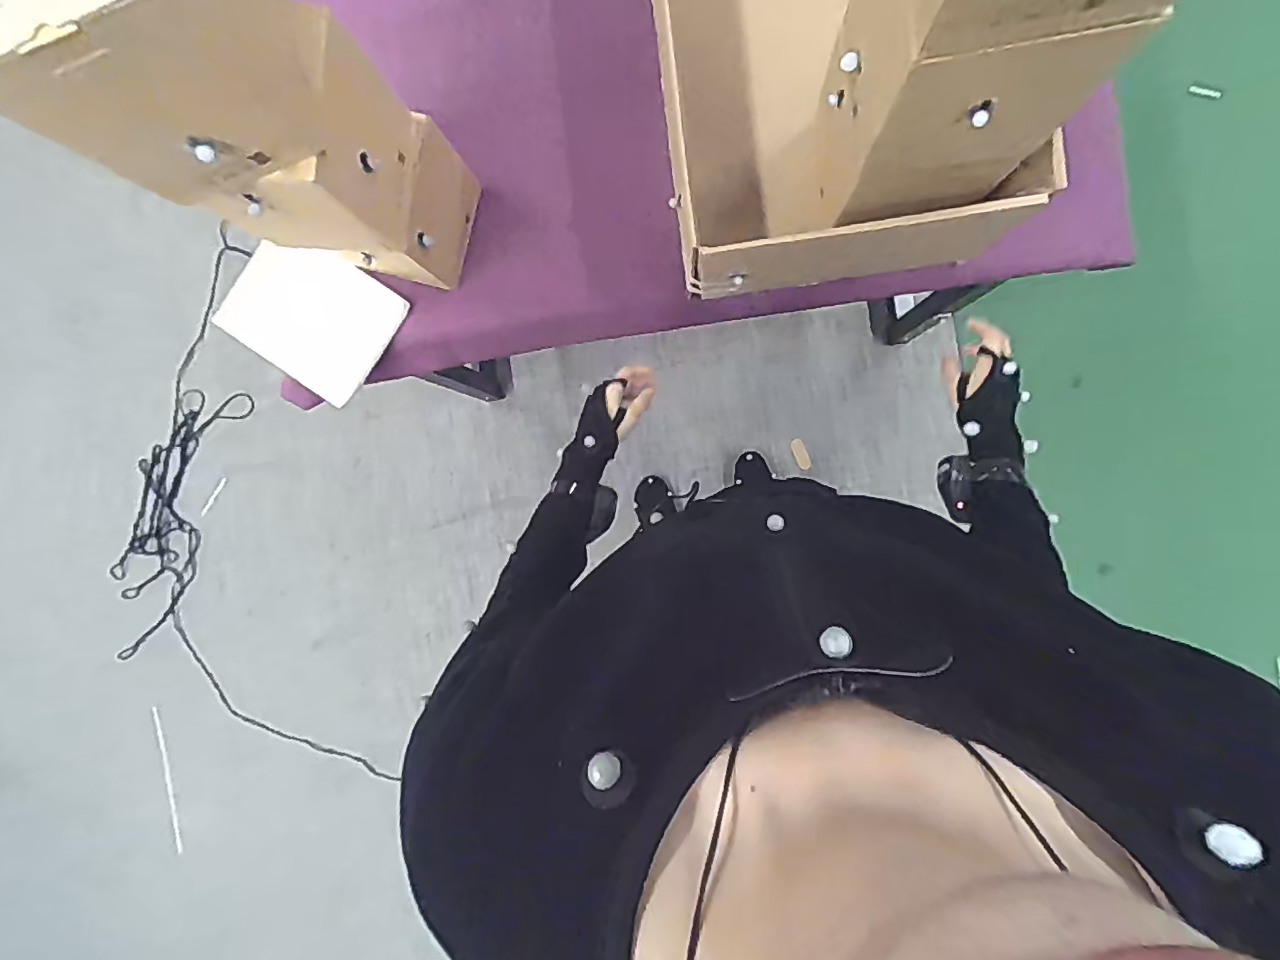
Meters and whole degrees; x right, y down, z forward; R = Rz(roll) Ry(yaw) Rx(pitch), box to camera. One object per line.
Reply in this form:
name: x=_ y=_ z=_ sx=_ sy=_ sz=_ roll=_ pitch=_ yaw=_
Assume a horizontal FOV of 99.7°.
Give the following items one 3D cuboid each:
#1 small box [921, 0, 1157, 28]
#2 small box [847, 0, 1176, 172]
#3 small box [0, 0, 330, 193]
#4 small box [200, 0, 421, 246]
small box: x=0.269 y=-0.403 z=0.304 sx=0.168 sy=0.176 sz=0.179 roll=-4 pitch=90 yaw=7
small box: x=0.293 y=-0.399 z=0.466 sx=0.179 sy=0.176 sz=0.168 roll=-5 pitch=90 yaw=9
small box: x=-0.387 y=-0.370 z=0.425 sx=0.168 sy=0.176 sz=0.179 roll=-16 pitch=89 yaw=7
small box: x=-0.363 y=-0.370 z=0.588 sx=0.179 sy=0.176 sz=0.168 roll=6 pitch=91 yaw=7
